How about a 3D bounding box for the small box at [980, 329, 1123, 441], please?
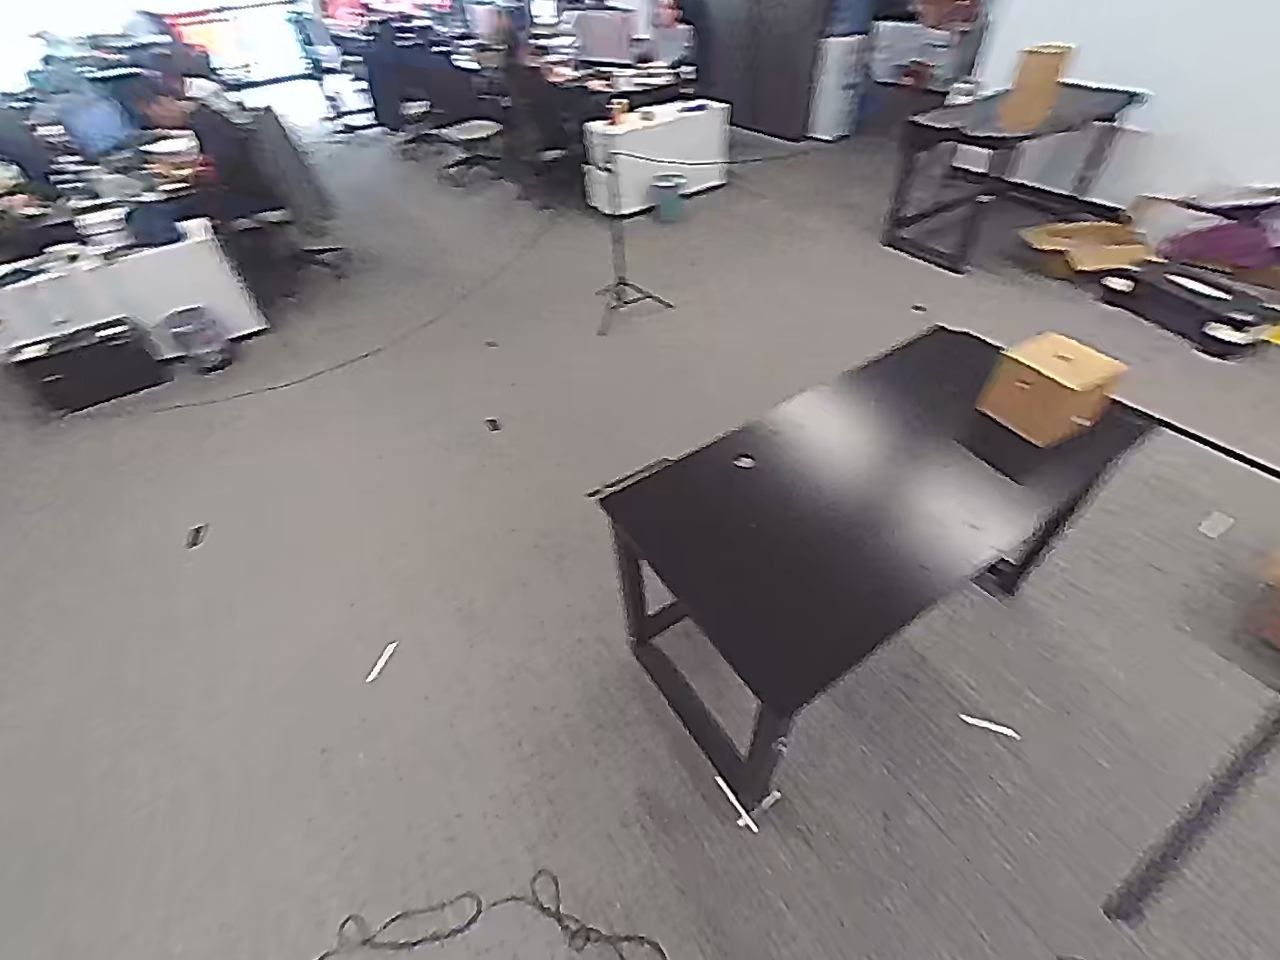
[{"bbox_3d":[0.949,-0.222,1.268,0.168,0.176,0.179,-23,48,-14],"label":"small box"}]
